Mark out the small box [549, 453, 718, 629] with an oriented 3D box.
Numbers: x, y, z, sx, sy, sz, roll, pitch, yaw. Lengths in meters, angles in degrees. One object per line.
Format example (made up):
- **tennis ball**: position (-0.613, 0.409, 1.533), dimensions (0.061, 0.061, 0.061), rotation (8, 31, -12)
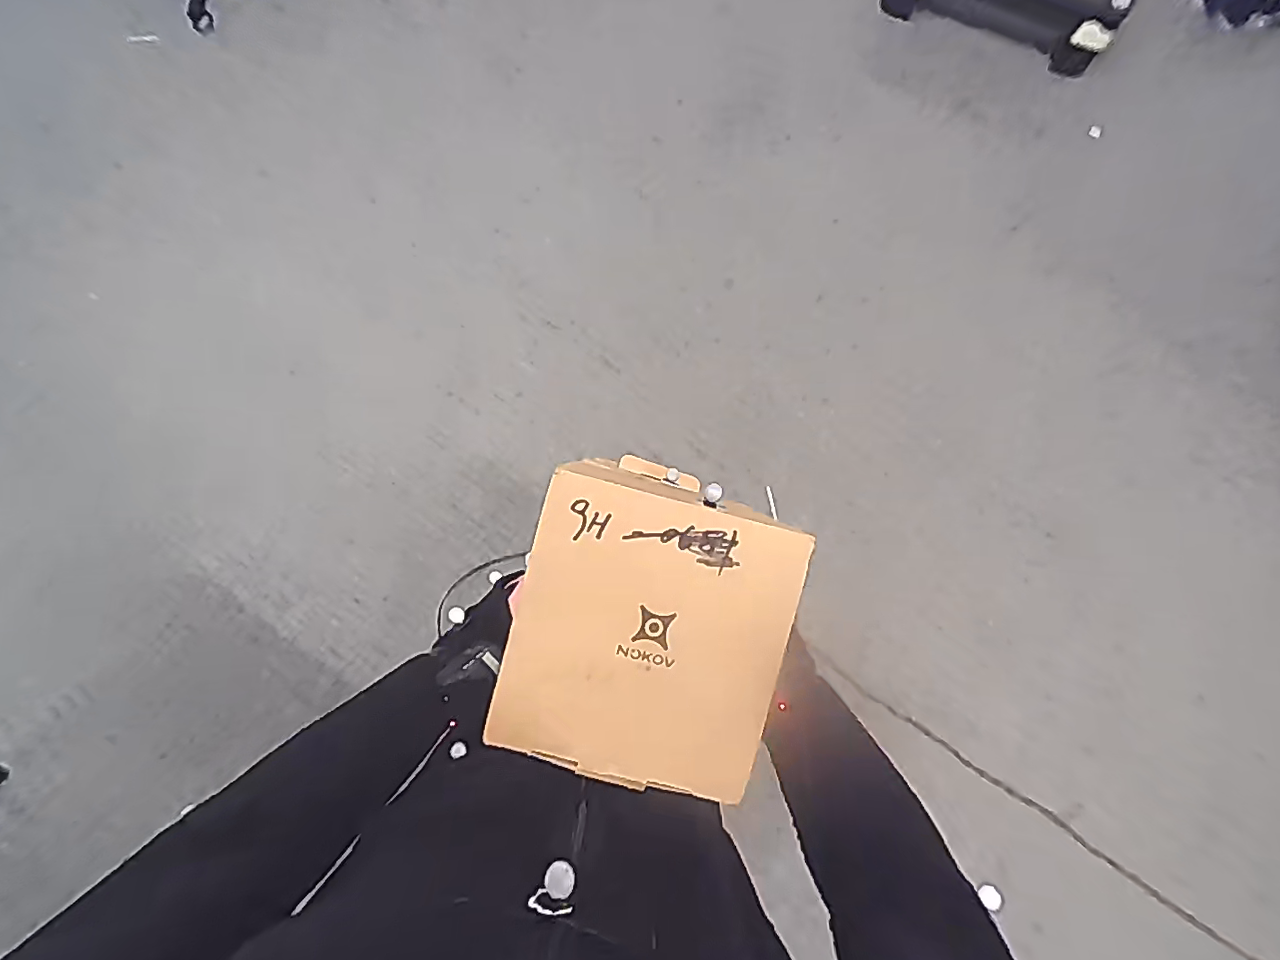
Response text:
- **small box**: position (-0.010, 0.071, 0.724), dimensions (0.168, 0.176, 0.179), rotation (17, 92, -1)
